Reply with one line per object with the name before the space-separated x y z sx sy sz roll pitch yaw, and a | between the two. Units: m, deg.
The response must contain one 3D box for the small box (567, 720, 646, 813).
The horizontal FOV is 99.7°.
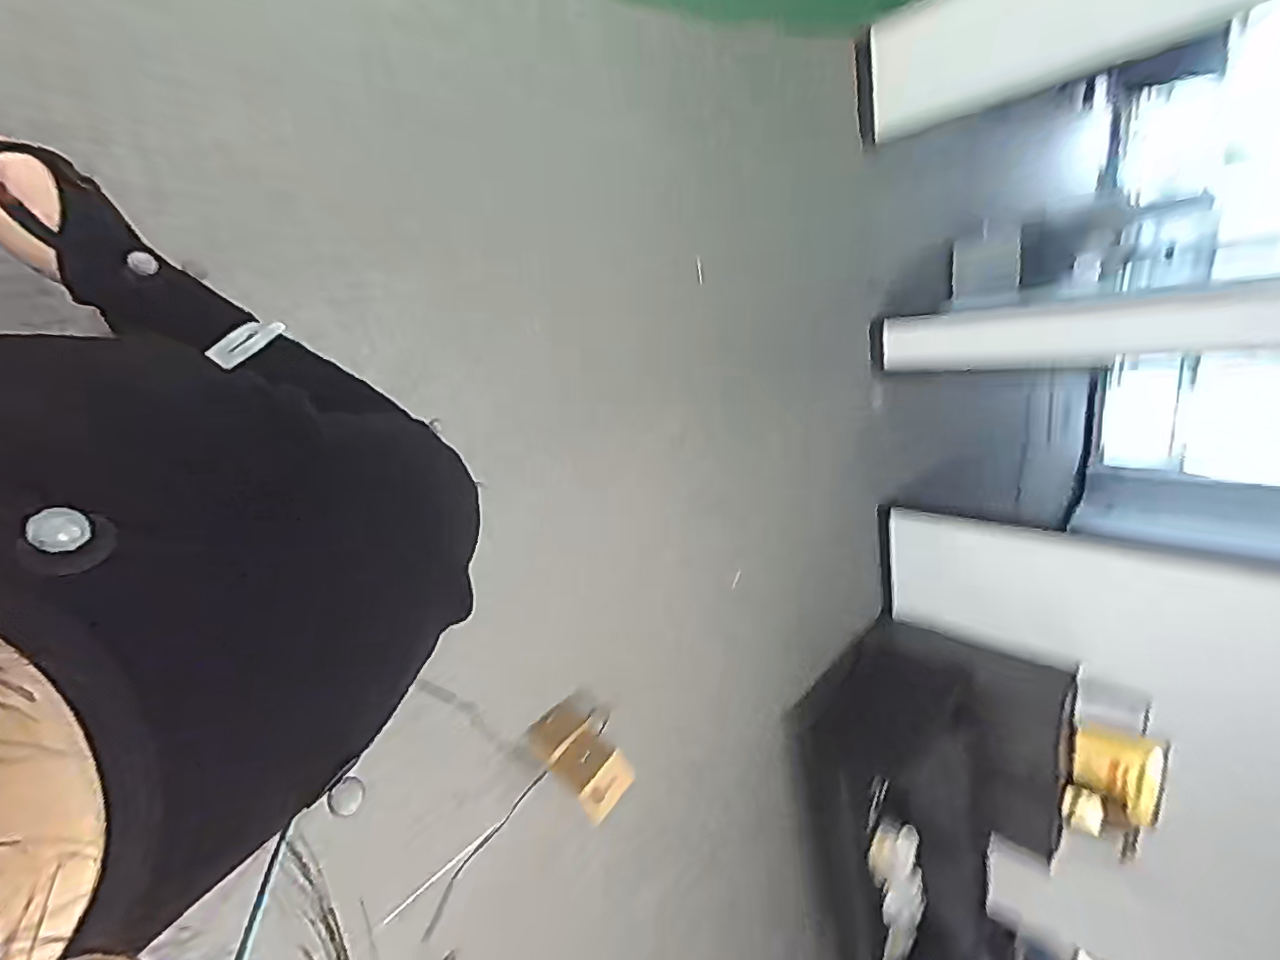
small box | -0.118 0.942 1.789 0.179 0.176 0.168 -41 122 -30
